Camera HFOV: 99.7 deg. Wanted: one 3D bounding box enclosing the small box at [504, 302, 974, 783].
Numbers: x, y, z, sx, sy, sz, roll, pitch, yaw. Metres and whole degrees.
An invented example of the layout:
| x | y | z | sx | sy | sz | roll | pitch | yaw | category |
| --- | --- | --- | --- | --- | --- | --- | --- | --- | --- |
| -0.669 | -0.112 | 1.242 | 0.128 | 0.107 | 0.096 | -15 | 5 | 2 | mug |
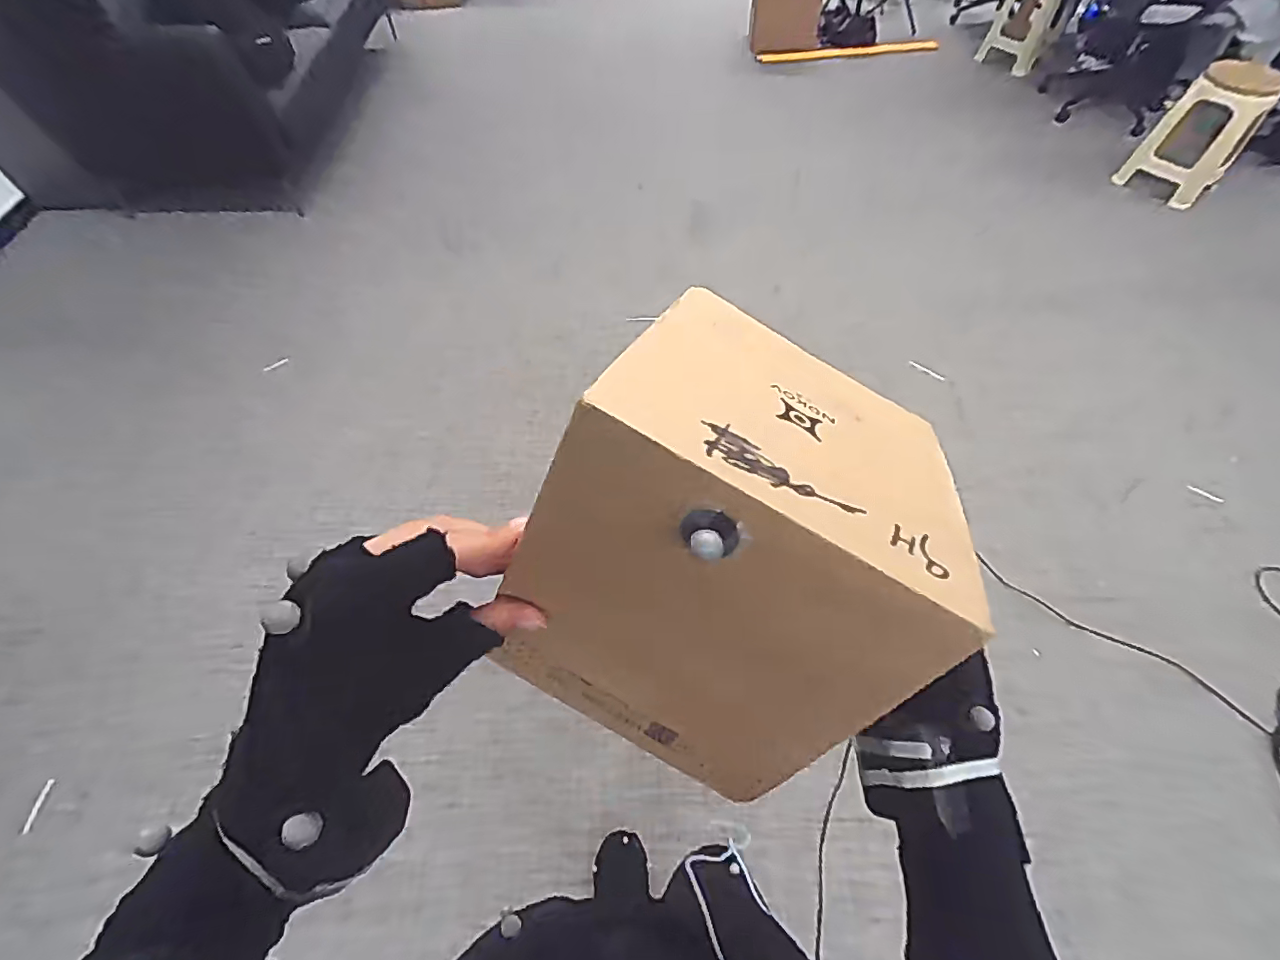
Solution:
| x | y | z | sx | sy | sz | roll | pitch | yaw | category |
| --- | --- | --- | --- | --- | --- | --- | --- | --- | --- |
| 0.044 | 0.028 | 0.314 | 0.168 | 0.176 | 0.179 | 30 | 35 | 1 | small box |
